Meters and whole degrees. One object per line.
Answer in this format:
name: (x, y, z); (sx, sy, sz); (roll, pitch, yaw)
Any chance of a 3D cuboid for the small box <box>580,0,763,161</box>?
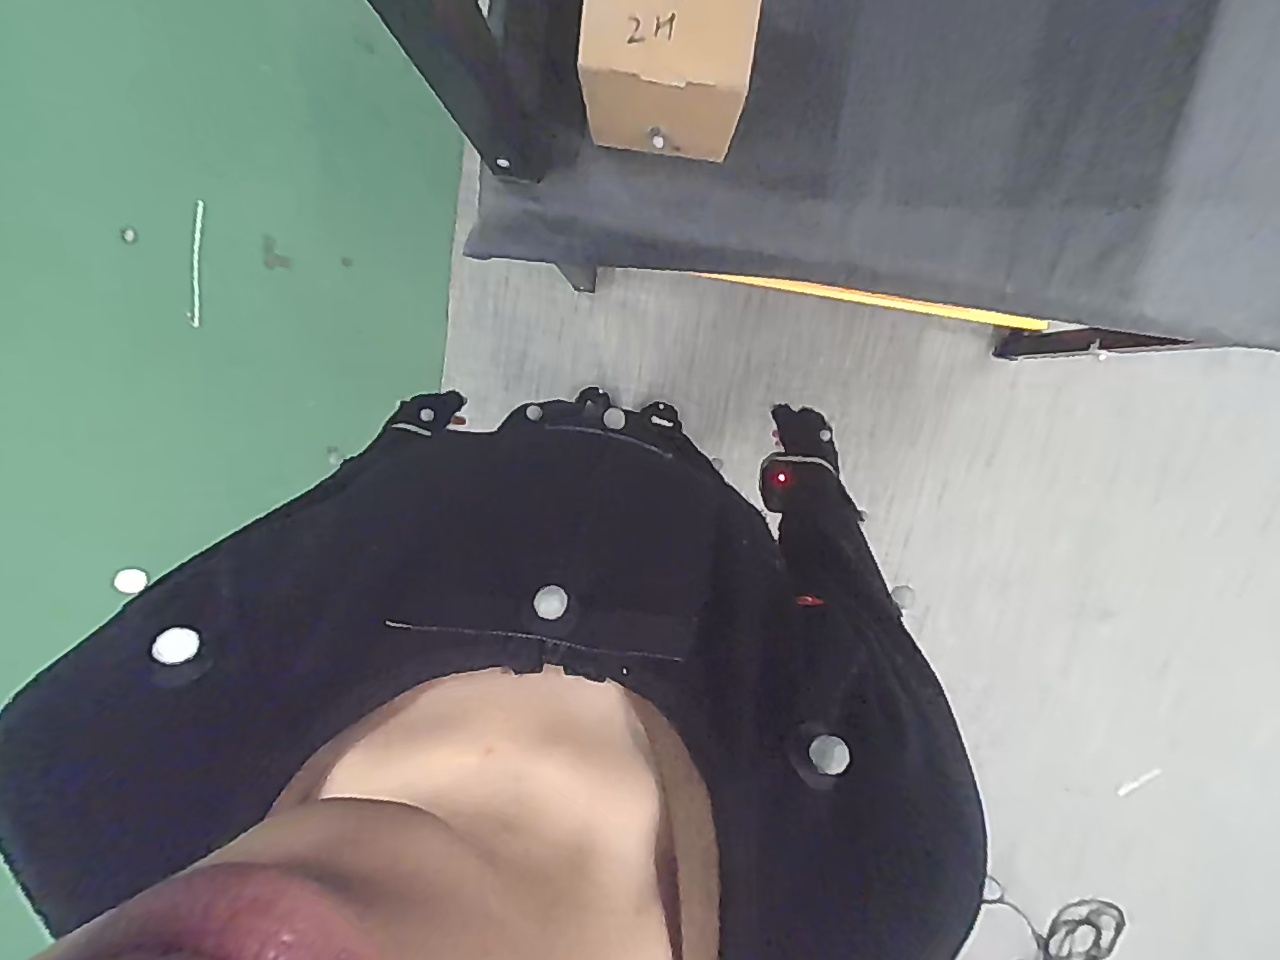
small box: (0.034, -0.478, 0.578); (0.168, 0.176, 0.179); (7, 100, -1)
